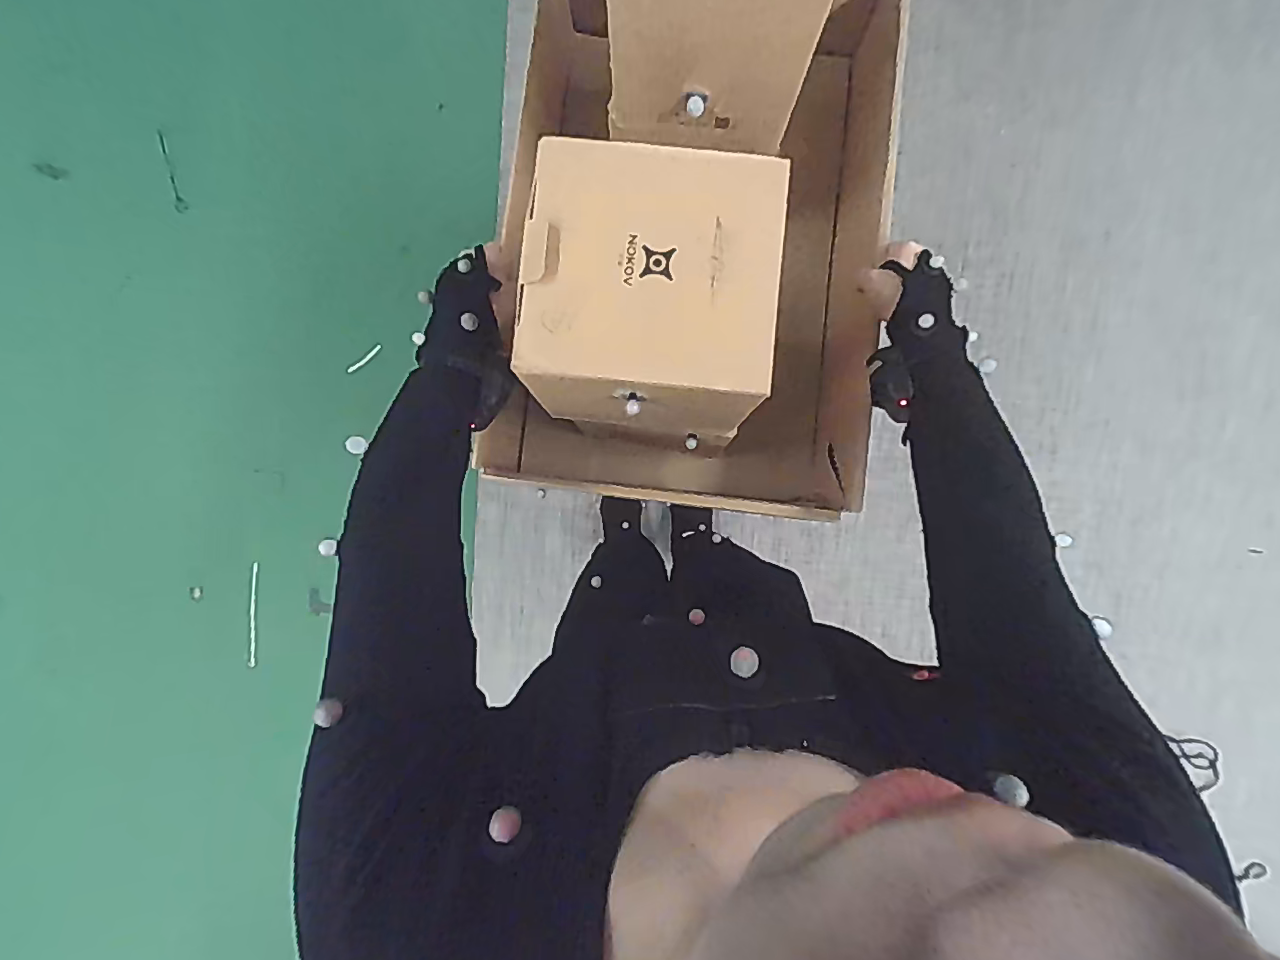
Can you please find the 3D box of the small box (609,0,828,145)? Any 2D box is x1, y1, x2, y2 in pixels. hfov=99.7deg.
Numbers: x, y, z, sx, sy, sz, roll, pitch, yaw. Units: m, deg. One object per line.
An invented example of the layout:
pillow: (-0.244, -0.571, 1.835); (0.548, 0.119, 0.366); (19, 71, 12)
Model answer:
small box: (0.064, -0.431, 0.461); (0.168, 0.176, 0.179); (7, 89, 1)

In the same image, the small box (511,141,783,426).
small box: (0.006, -0.143, 0.452); (0.179, 0.176, 0.168); (6, 87, 0)
